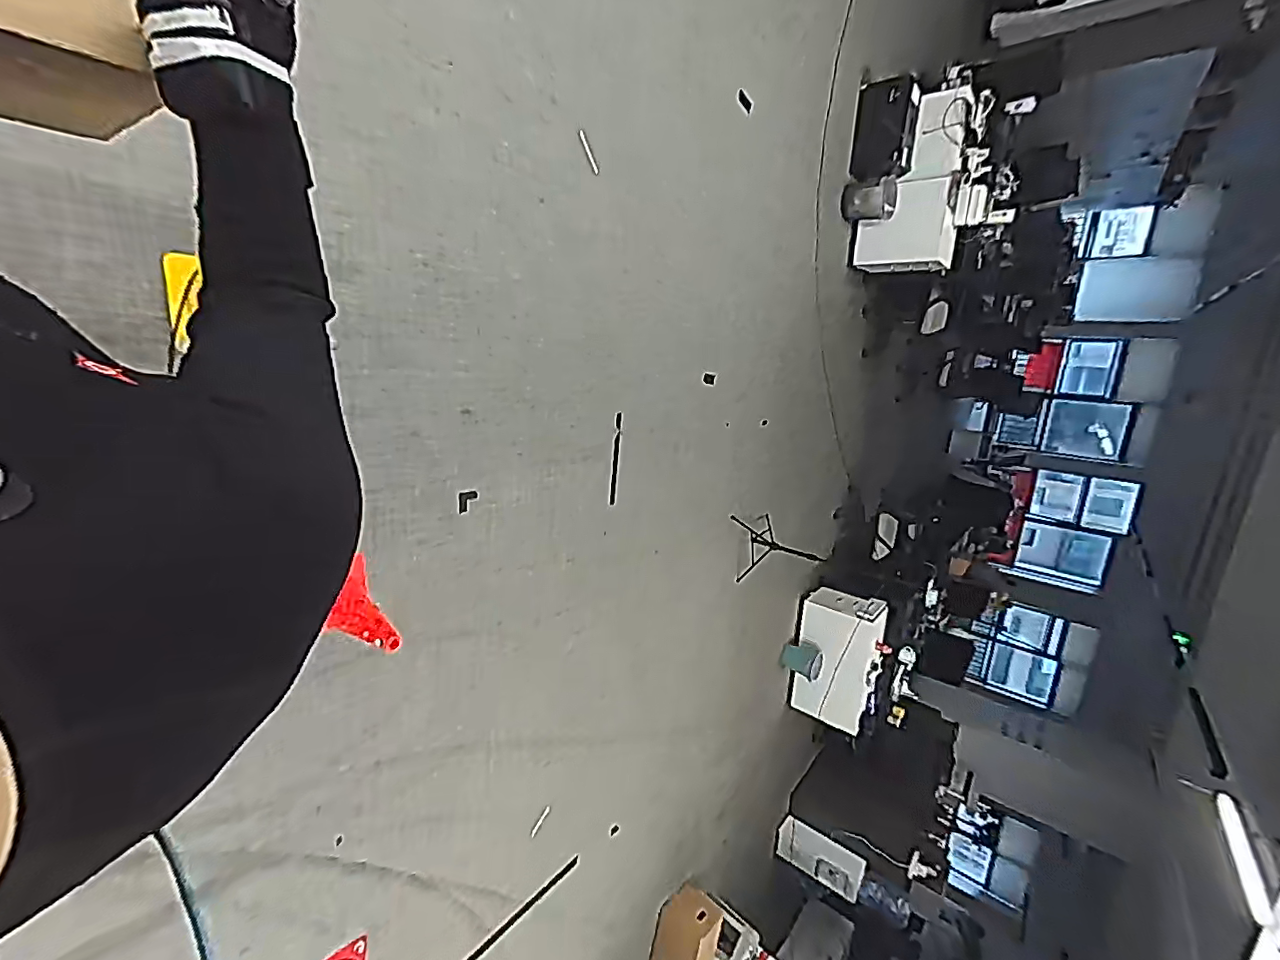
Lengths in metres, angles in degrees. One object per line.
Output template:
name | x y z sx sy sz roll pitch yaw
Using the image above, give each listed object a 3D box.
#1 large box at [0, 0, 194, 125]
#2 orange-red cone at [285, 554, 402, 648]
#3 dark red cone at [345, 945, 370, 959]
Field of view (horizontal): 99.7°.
large box | -0.539 -0.433 0.271 0.408 0.320 0.320 -15 117 -51
orange-red cone | -0.712 0.343 1.364 0.198 0.360 0.199 -16 112 -50
dark red cone | -0.824 1.620 1.584 0.201 0.394 0.202 -3 103 -51
